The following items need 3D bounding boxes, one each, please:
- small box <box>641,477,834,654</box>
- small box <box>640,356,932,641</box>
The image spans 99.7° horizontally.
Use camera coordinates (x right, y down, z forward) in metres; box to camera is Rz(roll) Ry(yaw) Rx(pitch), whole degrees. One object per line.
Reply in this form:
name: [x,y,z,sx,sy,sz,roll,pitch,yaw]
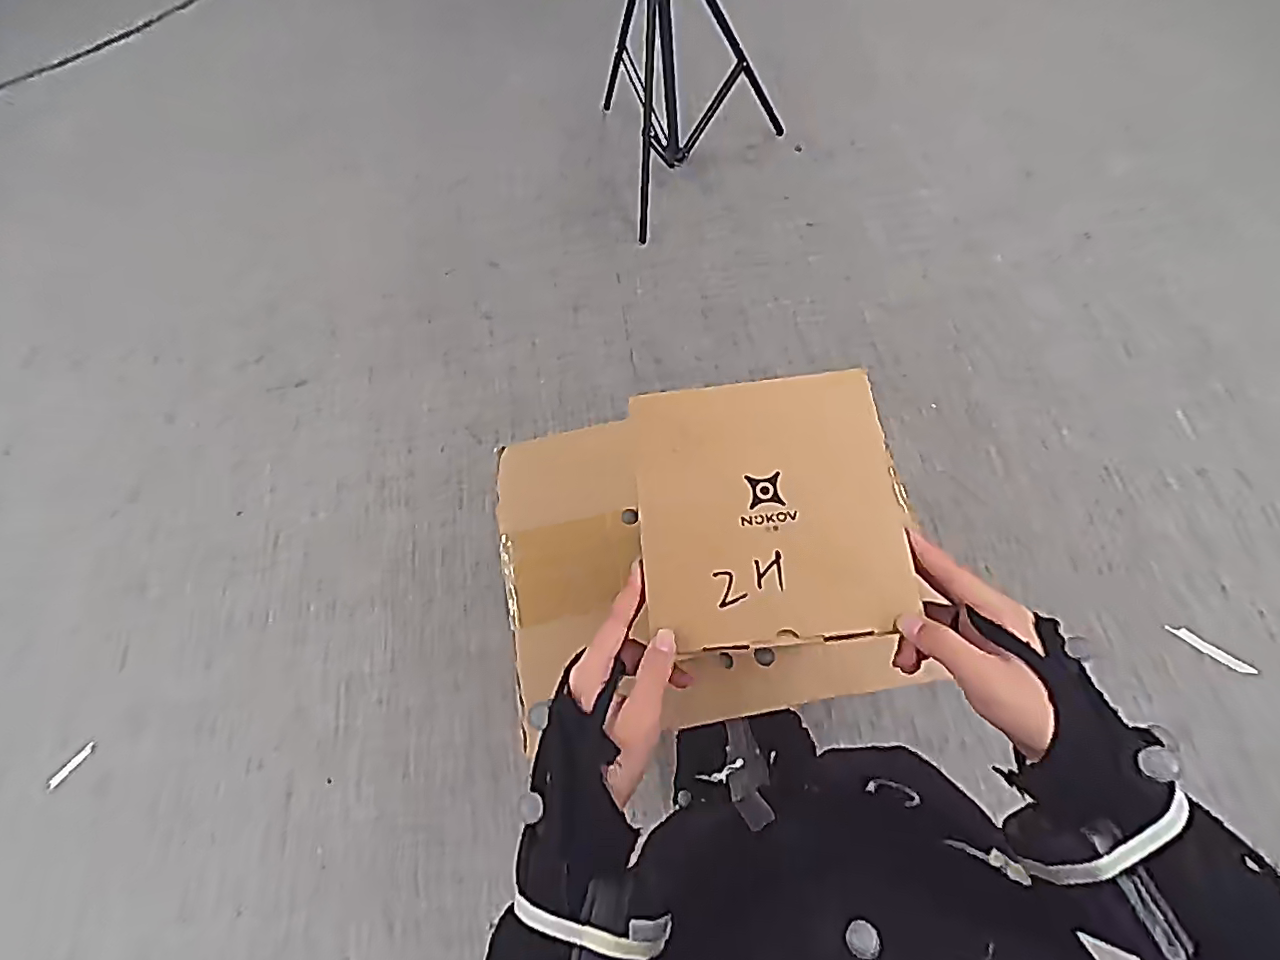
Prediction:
small box: [0.102,0.091,0.589,0.168,0.176,0.179,-10,69,4]
small box: [0.092,0.028,0.422,0.168,0.176,0.179,-6,72,4]
